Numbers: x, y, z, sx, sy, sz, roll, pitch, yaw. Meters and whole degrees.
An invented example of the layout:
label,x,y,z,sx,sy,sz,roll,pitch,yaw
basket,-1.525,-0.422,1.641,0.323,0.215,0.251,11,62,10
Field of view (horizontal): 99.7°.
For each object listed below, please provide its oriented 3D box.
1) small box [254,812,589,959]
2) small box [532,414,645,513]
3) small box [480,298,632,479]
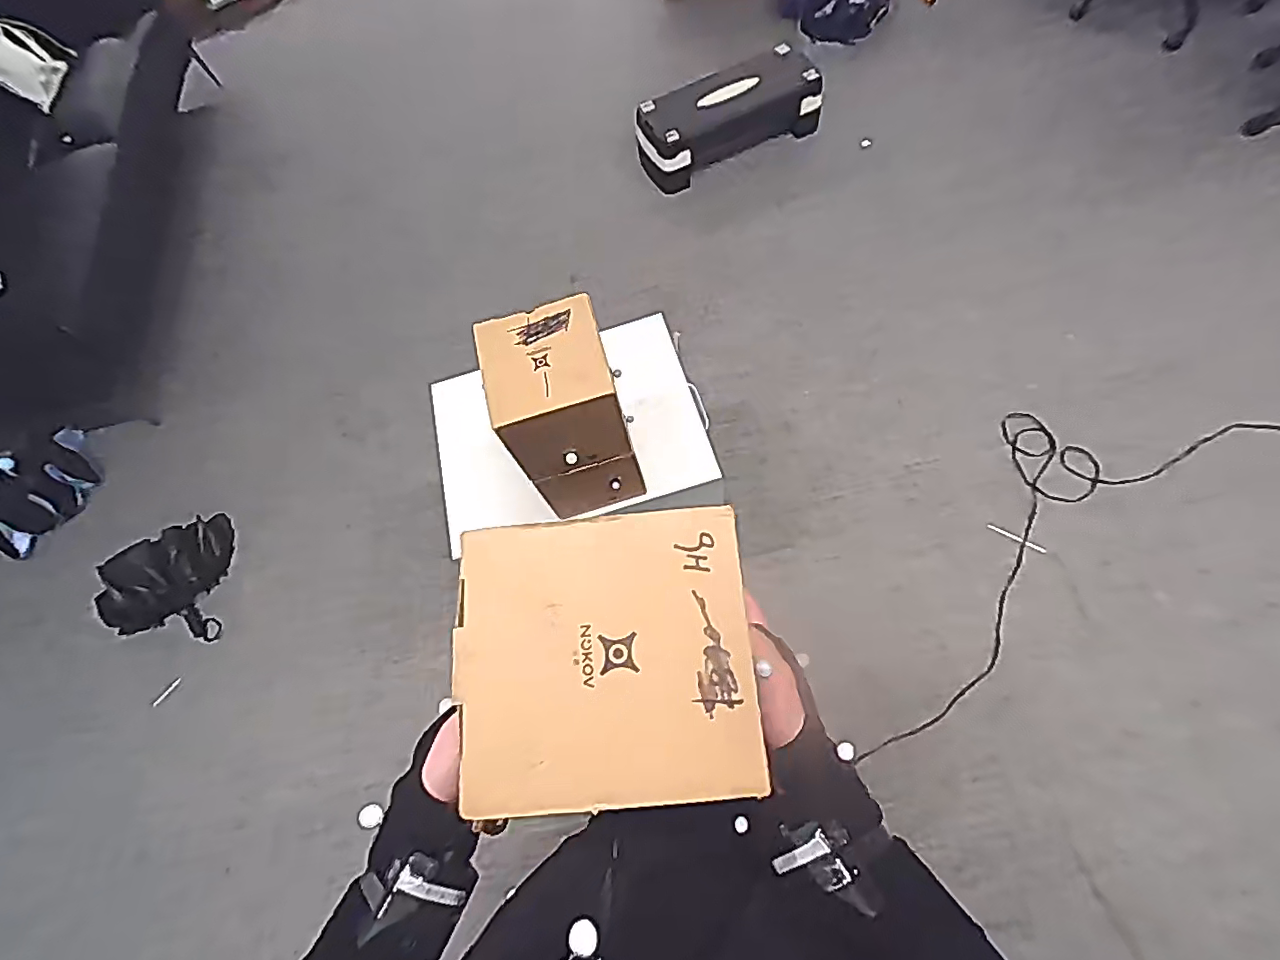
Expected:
label,x,y,z,sx,sy,sz,roll,pitch,yaw
small box,-0.156,0.399,0.433,0.176,0.179,0.168,-15,85,21
small box,-0.096,-0.057,0.939,0.168,0.176,0.179,-17,63,0
small box,-0.117,-0.126,0.792,0.168,0.176,0.179,-16,65,0
